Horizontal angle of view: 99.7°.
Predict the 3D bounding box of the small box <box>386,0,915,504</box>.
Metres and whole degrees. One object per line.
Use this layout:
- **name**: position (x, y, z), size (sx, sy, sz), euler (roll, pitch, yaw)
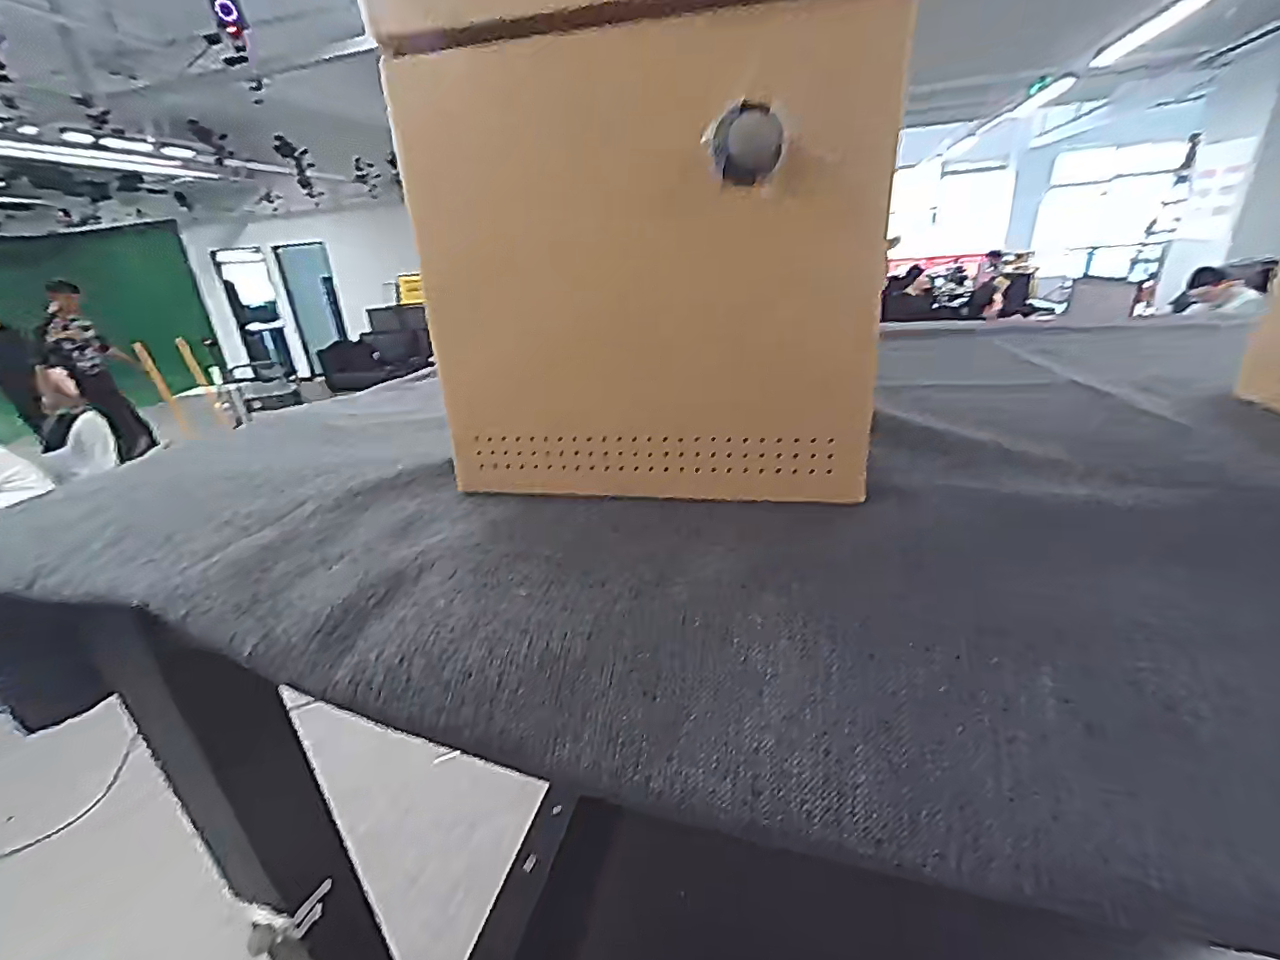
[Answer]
- **small box**: position (0.015, -0.094, 0.272), size (0.179, 0.176, 0.168), euler (1, 21, 12)
